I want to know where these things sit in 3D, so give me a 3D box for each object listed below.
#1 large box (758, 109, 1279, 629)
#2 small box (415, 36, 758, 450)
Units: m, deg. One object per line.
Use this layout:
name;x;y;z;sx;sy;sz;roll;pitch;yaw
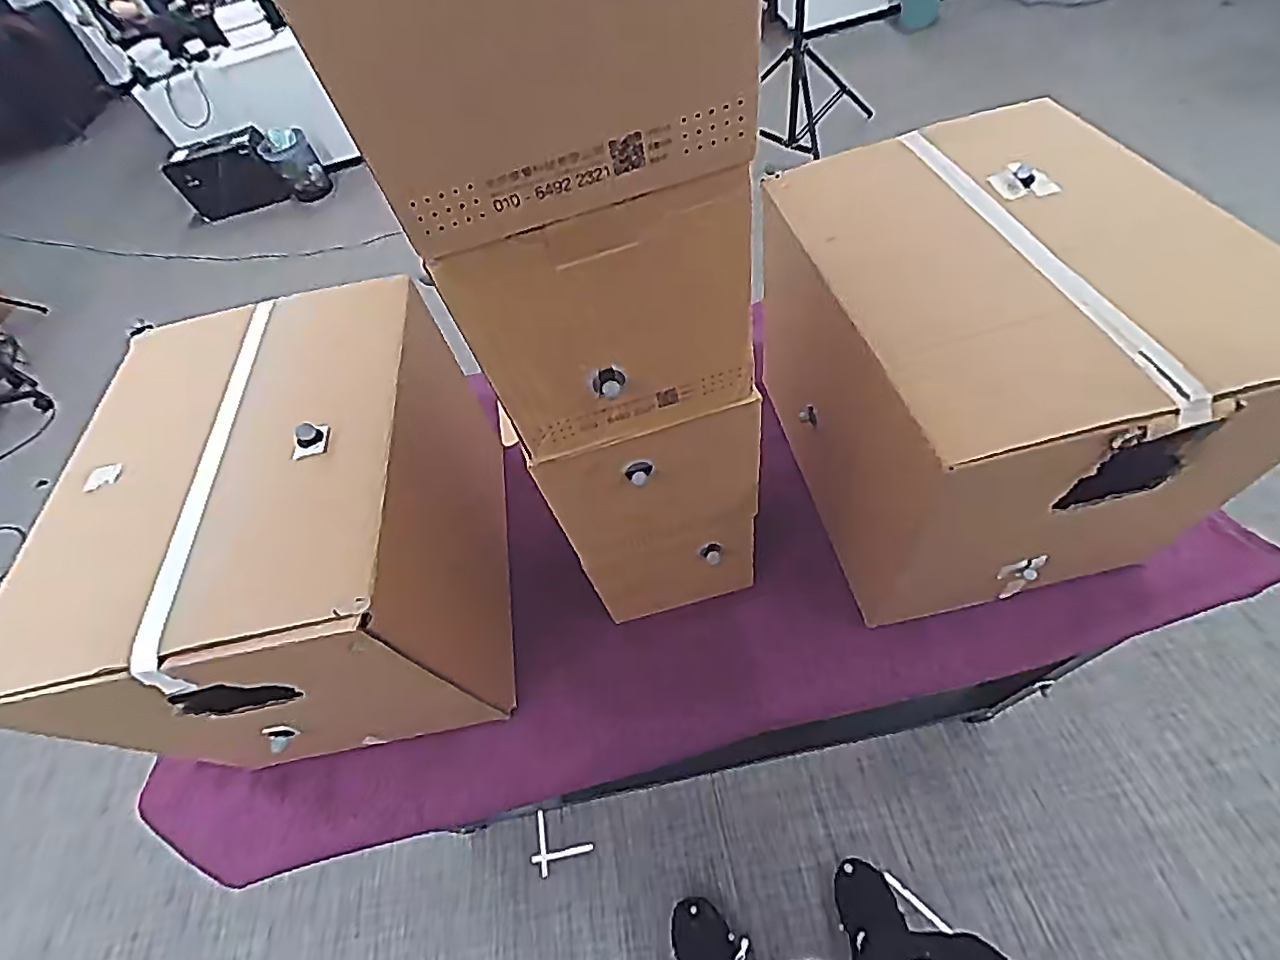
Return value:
large box;0.338;-0.112;0.577;0.320;0.320;0.408;-14;53;2
small box;-0.032;-0.151;0.362;0.168;0.176;0.179;-18;55;-1
